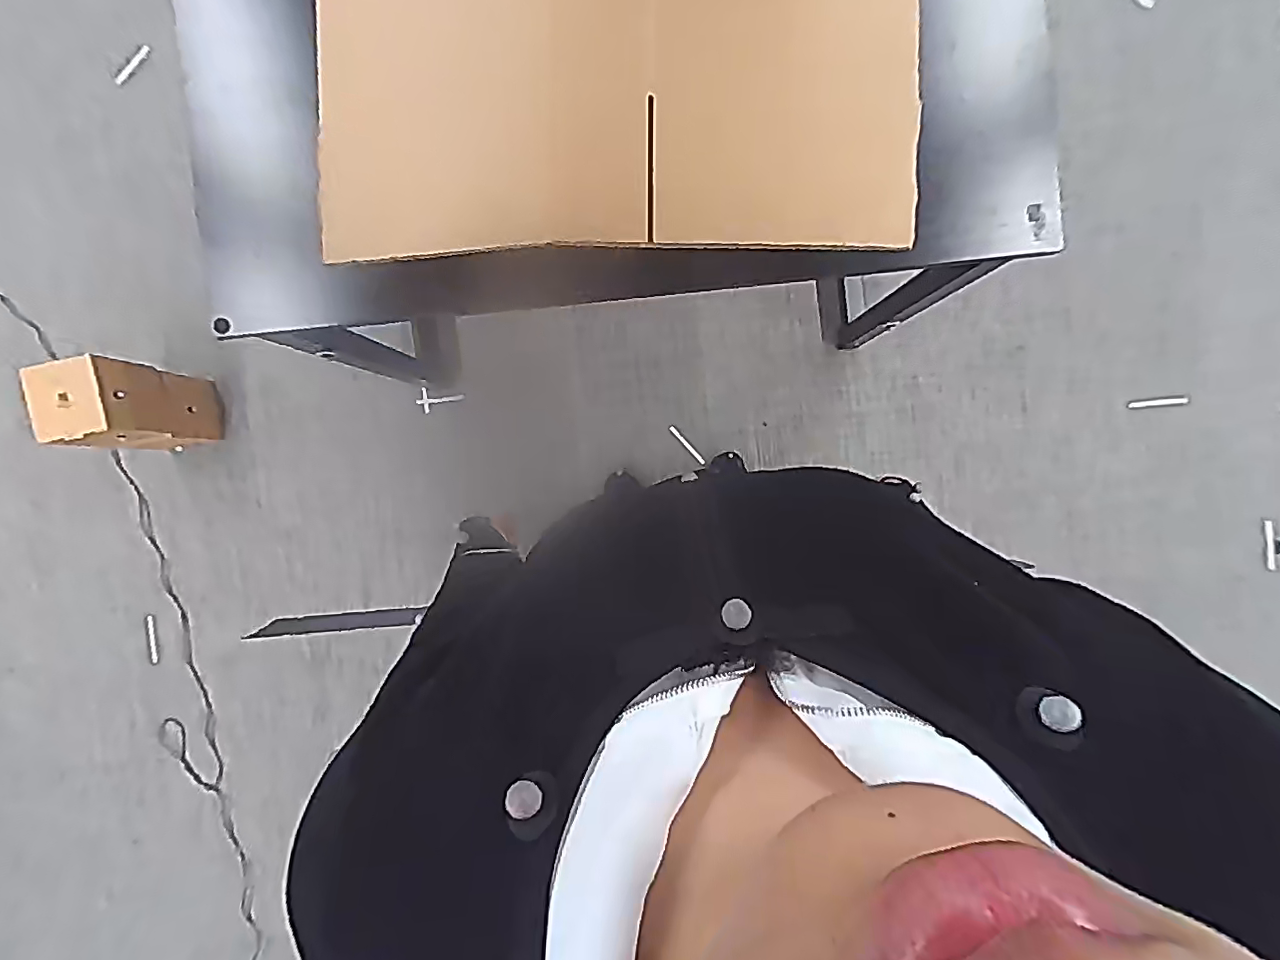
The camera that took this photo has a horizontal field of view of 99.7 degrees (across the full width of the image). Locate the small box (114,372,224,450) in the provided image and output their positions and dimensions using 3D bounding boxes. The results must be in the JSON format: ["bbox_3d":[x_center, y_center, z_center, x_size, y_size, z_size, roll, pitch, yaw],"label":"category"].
[{"bbox_3d":[-1.267,-0.180,1.449,0.168,0.176,0.179,-10,92,2],"label":"small box"}]

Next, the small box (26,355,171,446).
[{"bbox_3d":[-1.273,-0.181,1.286,0.168,0.176,0.179,-12,91,1],"label":"small box"}]
